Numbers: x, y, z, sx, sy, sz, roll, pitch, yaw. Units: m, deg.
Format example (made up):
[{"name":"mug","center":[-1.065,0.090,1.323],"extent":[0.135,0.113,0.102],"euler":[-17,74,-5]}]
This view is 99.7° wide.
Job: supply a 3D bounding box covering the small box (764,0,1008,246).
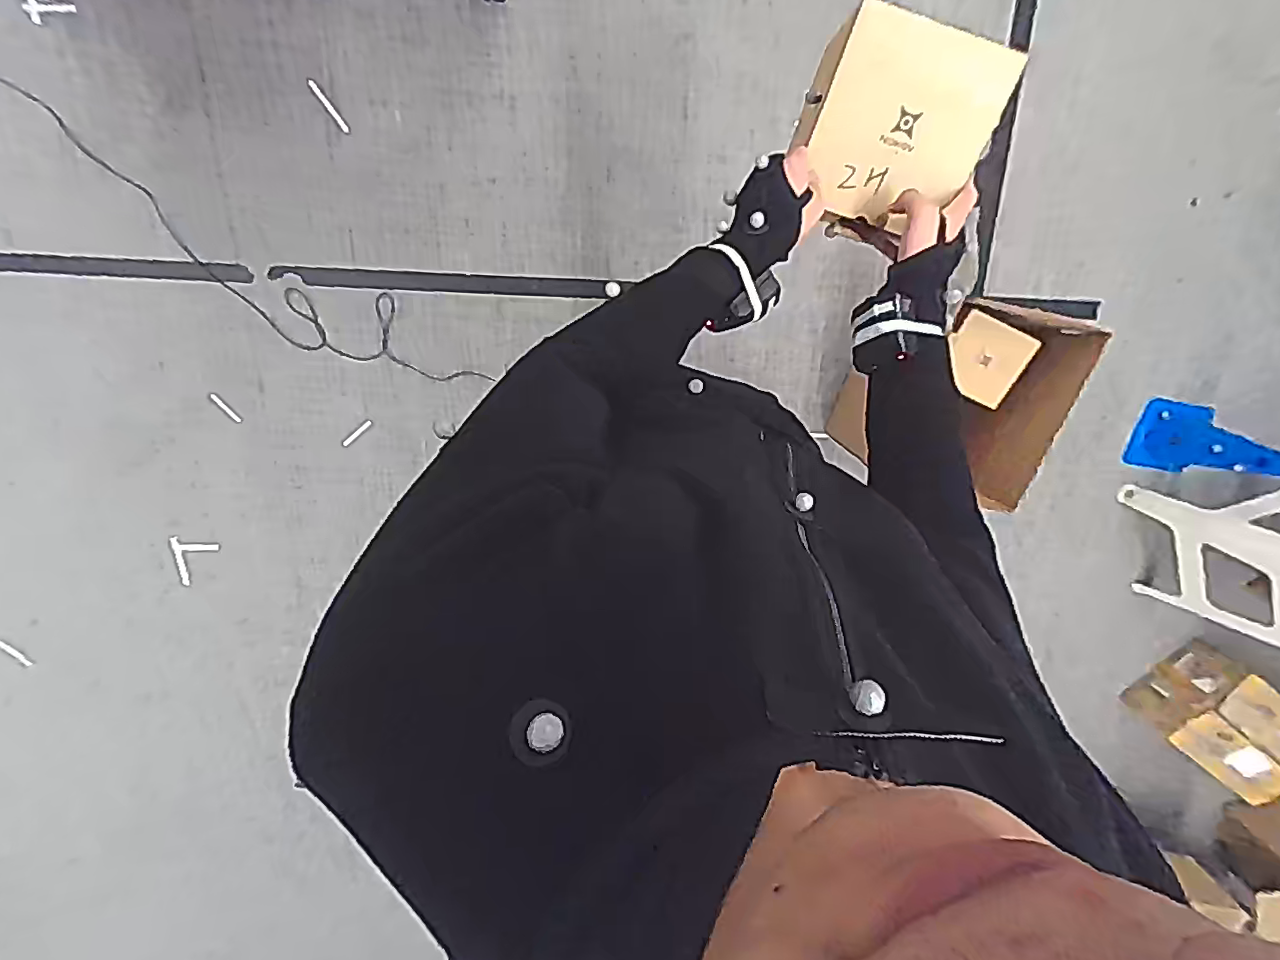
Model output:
[{"name":"small box","center":[0.249,-0.380,0.606],"extent":[0.168,0.176,0.179],"euler":[18,116,-2]}]
